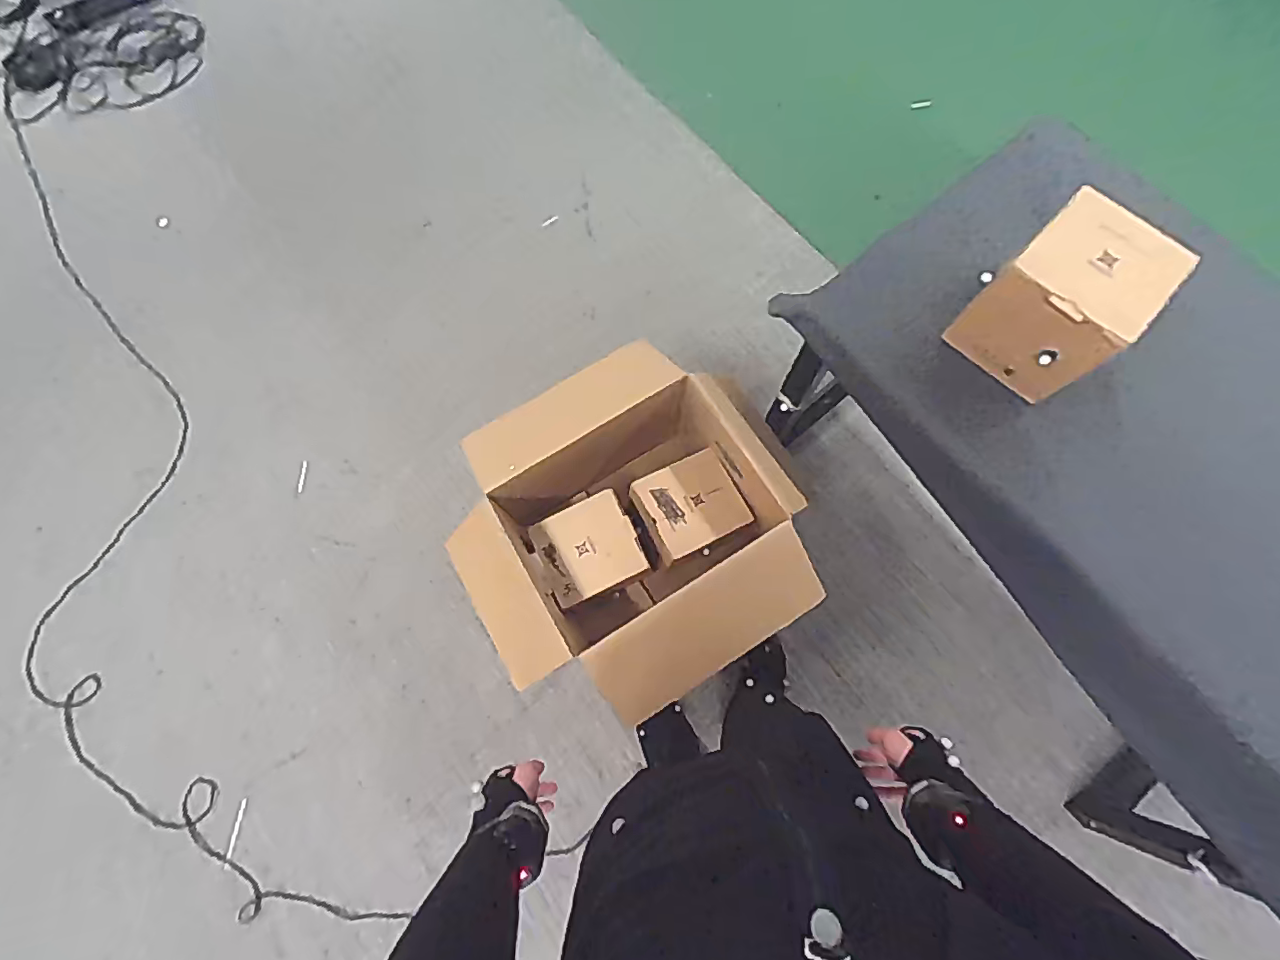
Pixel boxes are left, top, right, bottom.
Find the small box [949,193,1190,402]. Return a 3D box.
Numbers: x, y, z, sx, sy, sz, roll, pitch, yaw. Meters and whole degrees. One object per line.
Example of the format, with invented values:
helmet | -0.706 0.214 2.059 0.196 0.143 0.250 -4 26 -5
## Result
small box | 0.570 -0.240 0.747 0.168 0.176 0.179 42 76 10
